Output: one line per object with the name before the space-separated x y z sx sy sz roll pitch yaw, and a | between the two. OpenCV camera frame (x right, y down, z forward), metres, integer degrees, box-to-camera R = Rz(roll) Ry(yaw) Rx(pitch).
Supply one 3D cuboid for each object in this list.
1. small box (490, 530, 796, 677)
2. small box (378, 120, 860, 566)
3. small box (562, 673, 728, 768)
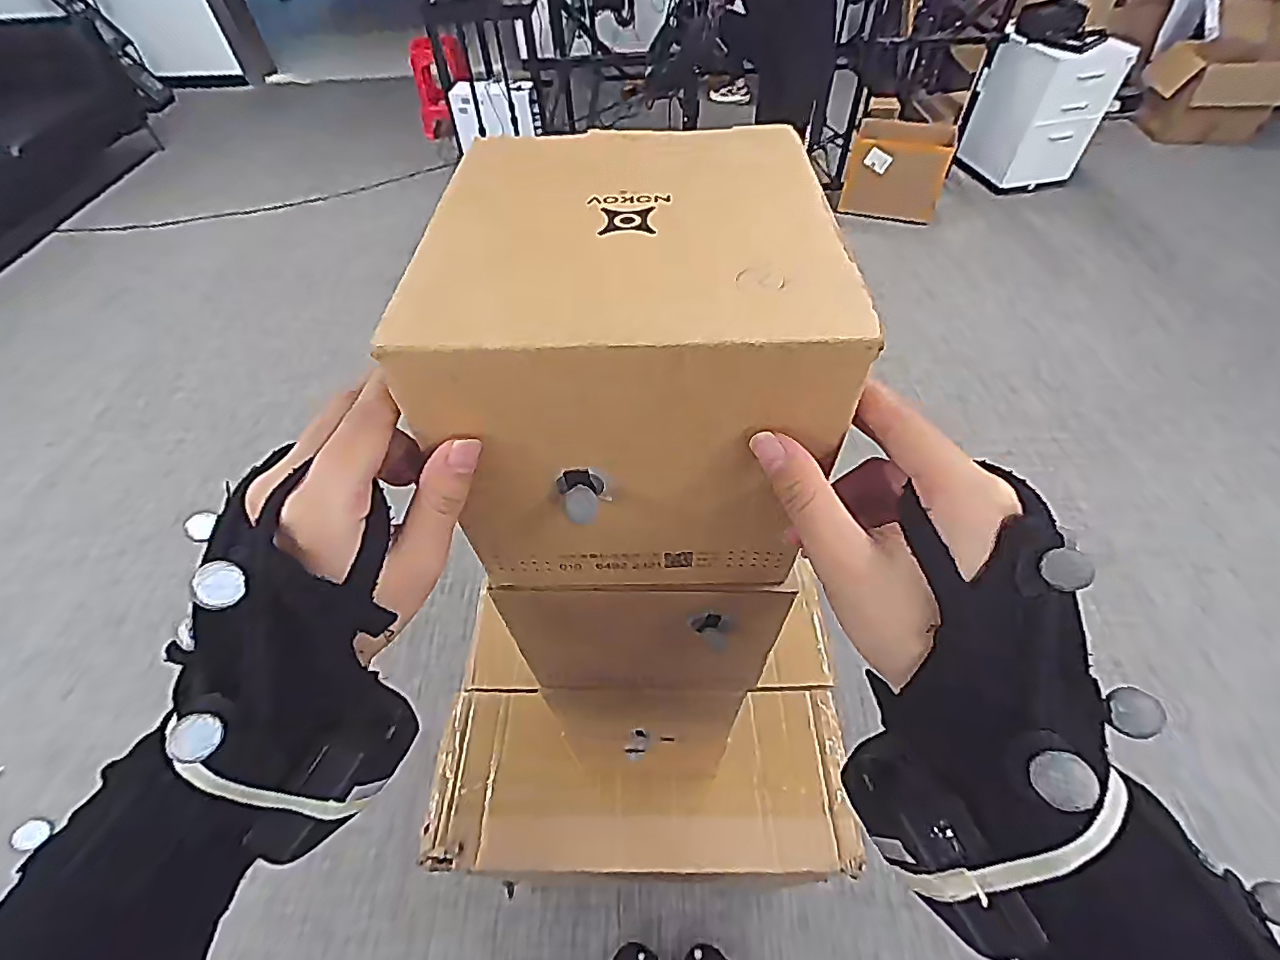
small box | 0.005 0.042 0.414 0.179 0.176 0.168 0 51 2
small box | -0.004 -0.064 0.291 0.168 0.176 0.179 -2 51 1
small box | 0.011 0.249 0.670 0.179 0.176 0.168 0 51 2
